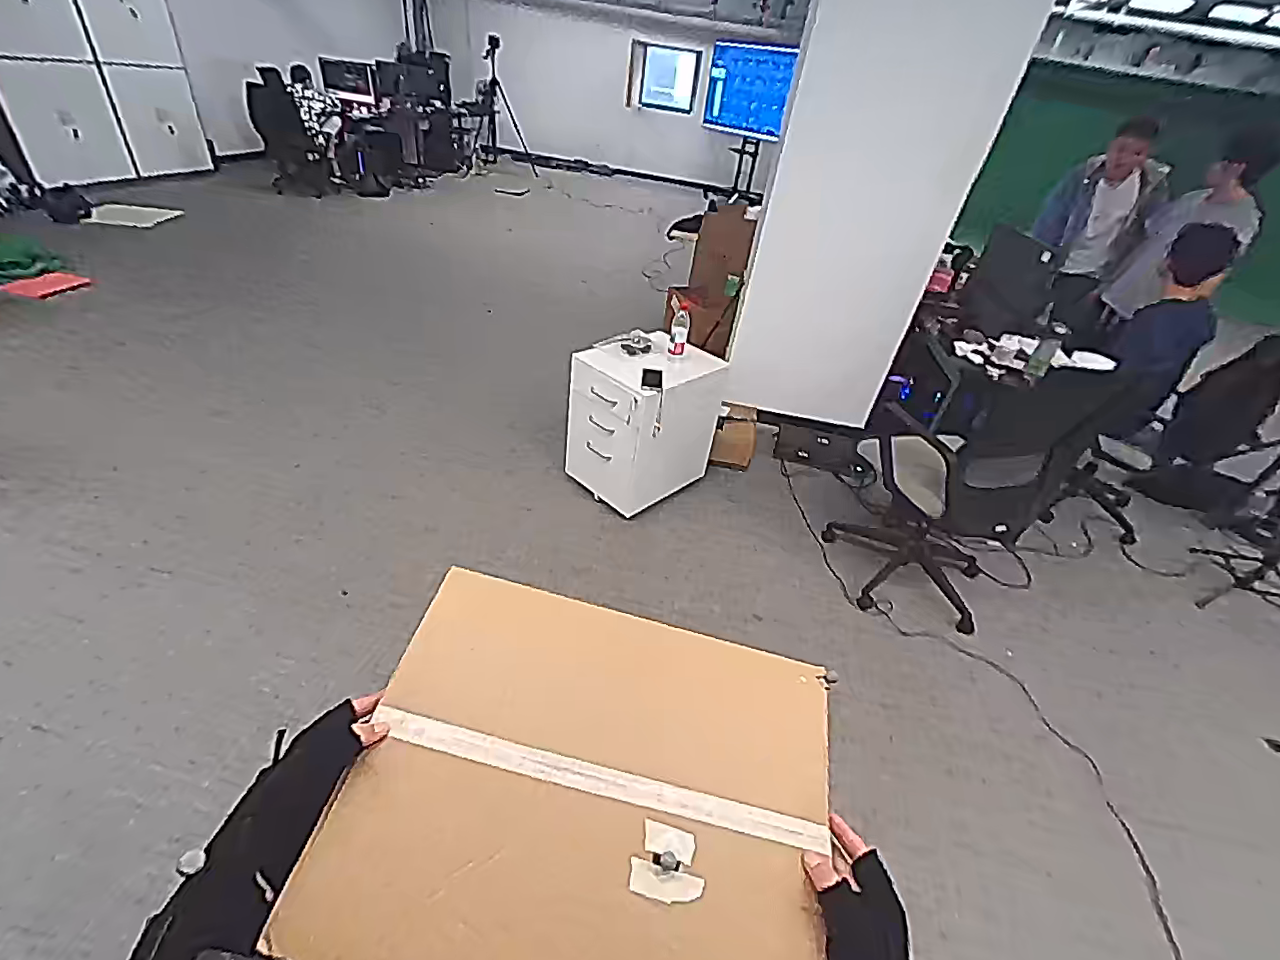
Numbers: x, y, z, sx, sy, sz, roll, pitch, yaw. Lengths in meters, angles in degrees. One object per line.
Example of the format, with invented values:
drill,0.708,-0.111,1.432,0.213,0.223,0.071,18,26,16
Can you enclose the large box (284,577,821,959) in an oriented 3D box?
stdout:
large box,-0.061,0.354,0.590,0.408,0.320,0.320,15,50,0
